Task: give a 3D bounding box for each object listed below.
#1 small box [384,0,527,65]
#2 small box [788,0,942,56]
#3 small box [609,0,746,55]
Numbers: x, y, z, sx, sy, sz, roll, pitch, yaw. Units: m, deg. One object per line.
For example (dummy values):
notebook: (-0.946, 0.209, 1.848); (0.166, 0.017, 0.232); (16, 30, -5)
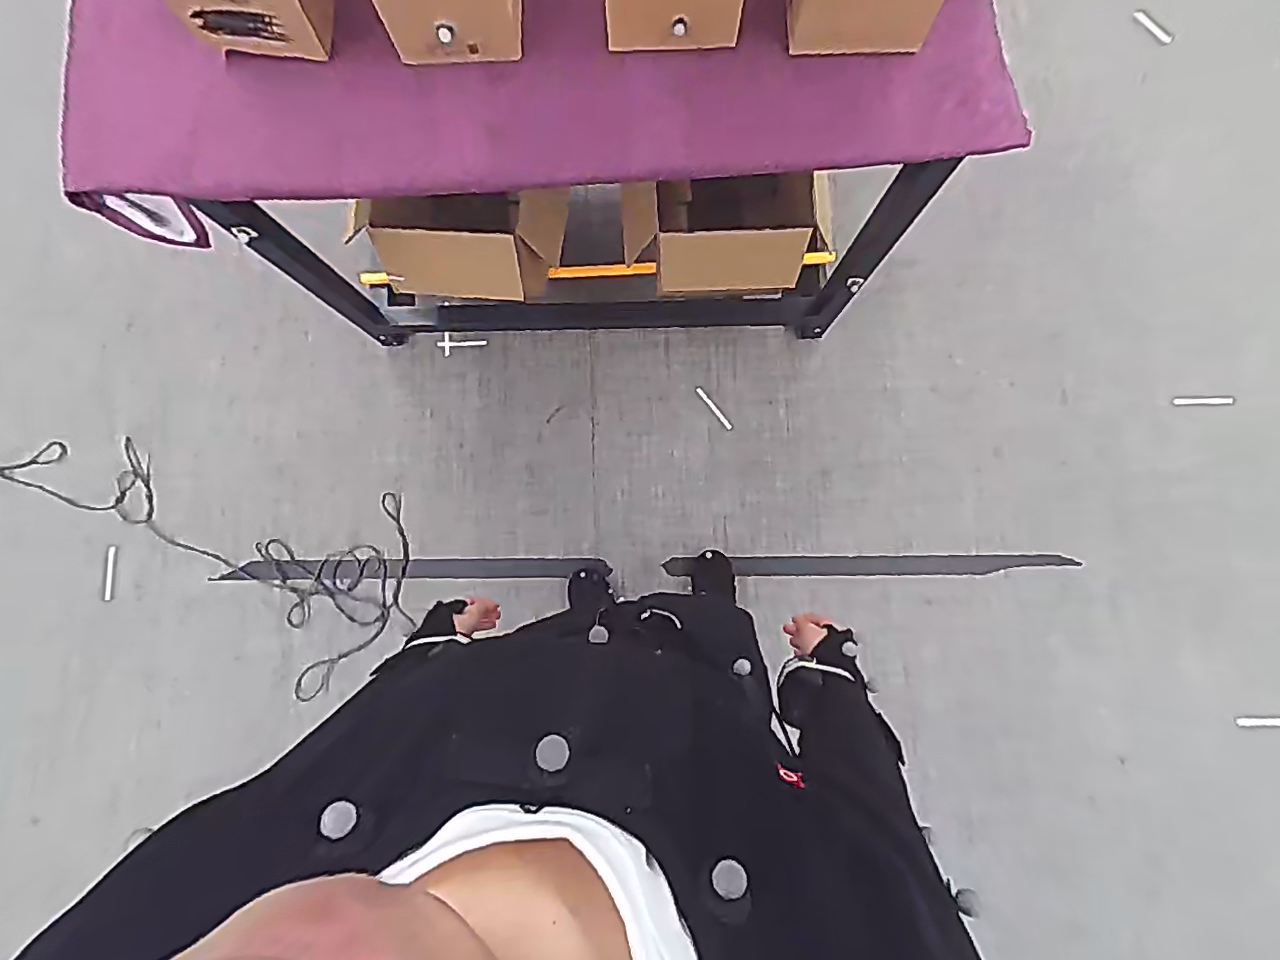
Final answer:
small box: (-0.243, -0.673, 0.682); (0.168, 0.176, 0.179); (-1, 84, 1)
small box: (0.292, -0.670, 0.671); (0.179, 0.176, 0.168); (0, 81, 1)
small box: (0.046, -0.680, 0.675); (0.179, 0.176, 0.168); (0, 82, 1)
